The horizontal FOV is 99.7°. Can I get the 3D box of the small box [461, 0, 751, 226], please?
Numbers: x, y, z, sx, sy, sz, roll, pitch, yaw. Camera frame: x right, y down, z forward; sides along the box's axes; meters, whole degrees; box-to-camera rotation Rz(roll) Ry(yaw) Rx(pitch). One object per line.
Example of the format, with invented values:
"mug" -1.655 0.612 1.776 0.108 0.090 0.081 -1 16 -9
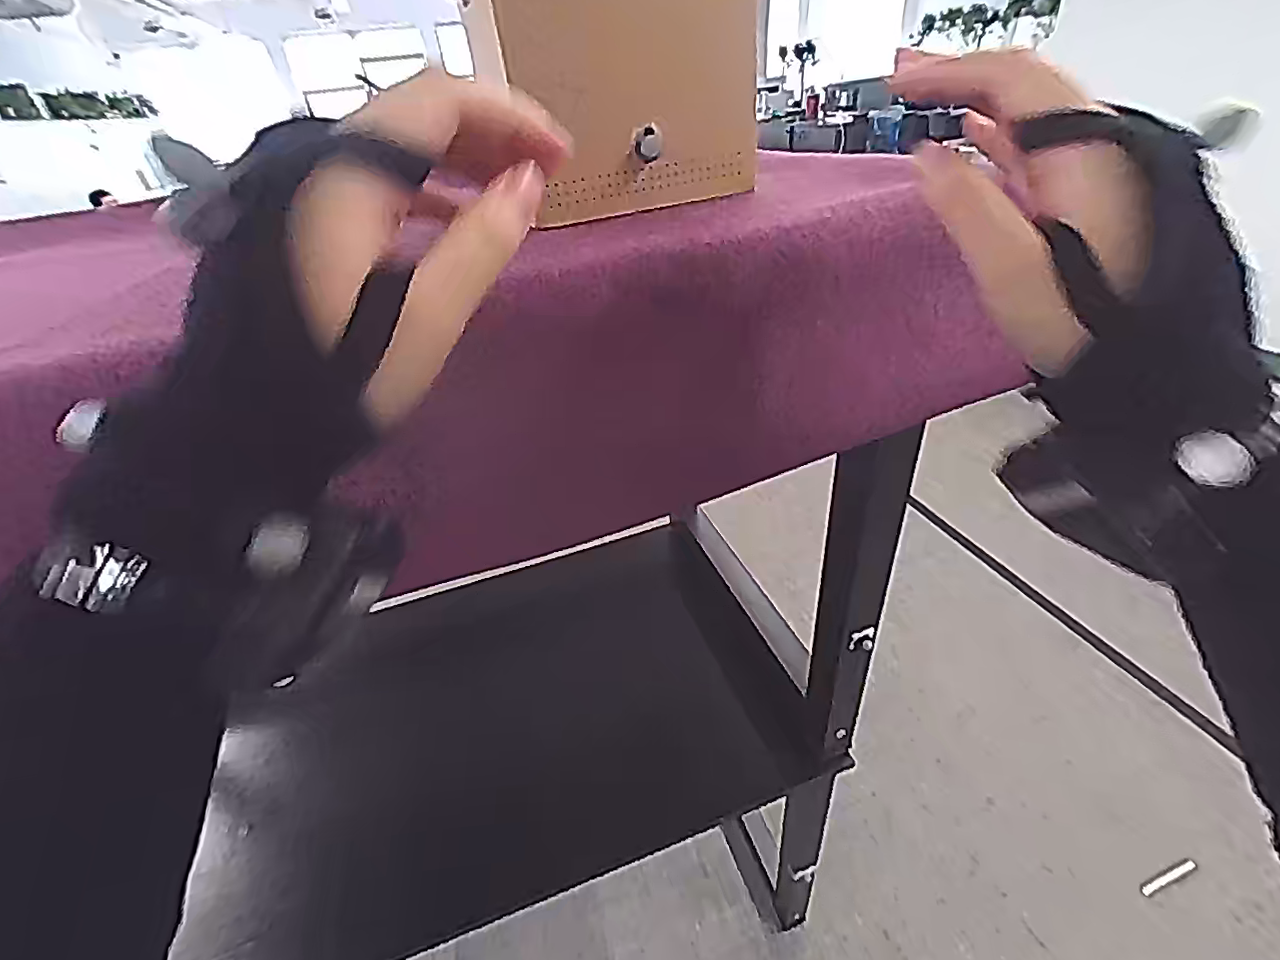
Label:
"small box" -0.029 -0.307 0.411 0.179 0.176 0.168 -17 36 -13
